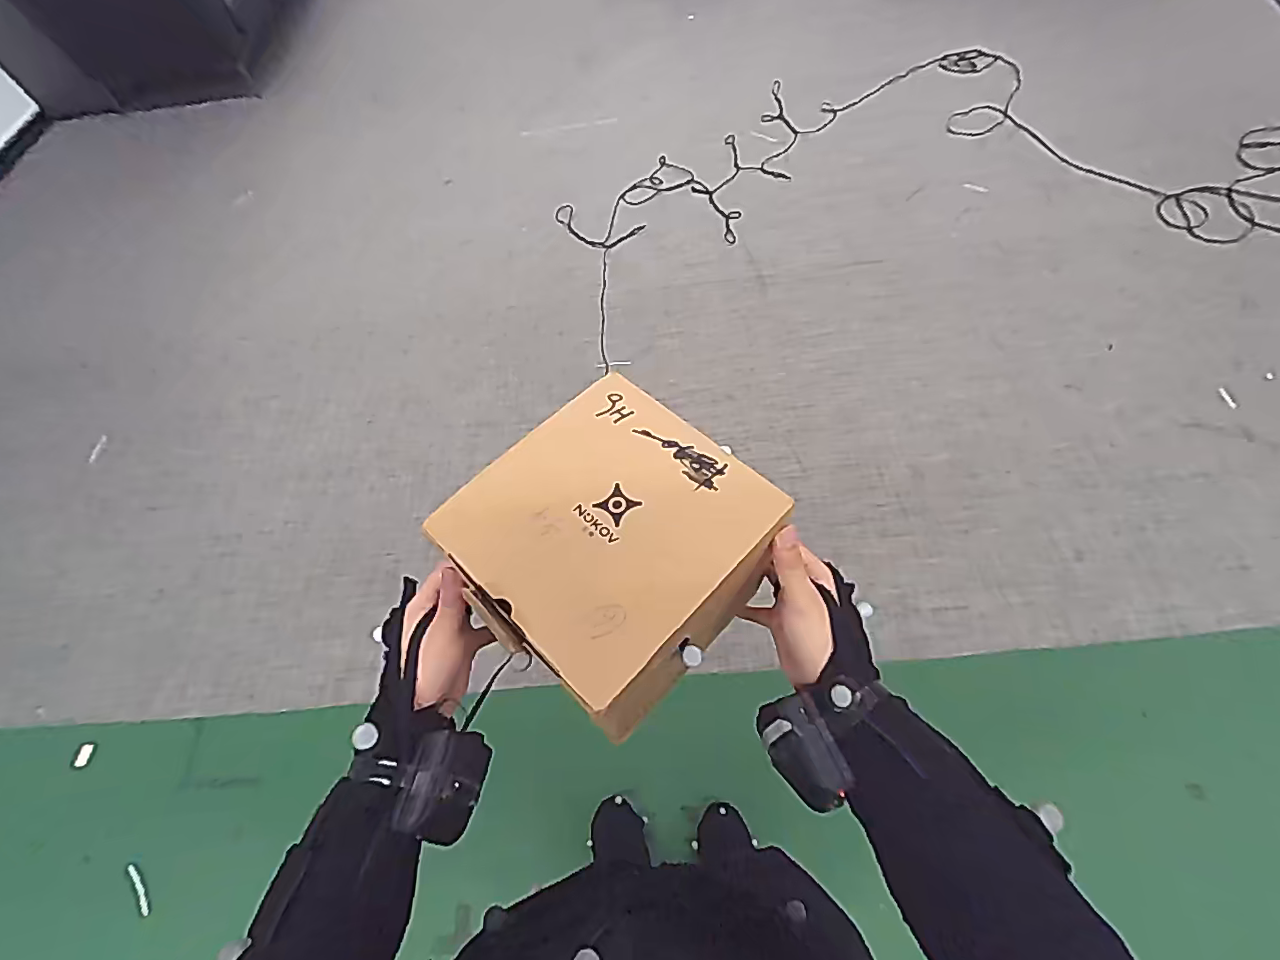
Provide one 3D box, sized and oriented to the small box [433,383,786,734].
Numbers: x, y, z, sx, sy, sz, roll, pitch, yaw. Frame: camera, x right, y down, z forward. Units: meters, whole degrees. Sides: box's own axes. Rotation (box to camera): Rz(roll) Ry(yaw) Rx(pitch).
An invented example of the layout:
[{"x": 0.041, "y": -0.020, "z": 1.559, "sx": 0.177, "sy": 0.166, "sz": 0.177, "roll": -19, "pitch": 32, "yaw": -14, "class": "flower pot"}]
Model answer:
[{"x": -0.015, "y": 0.068, "z": 0.418, "sx": 0.168, "sy": 0.176, "sz": 0.179, "roll": 39, "pitch": 69, "yaw": 23, "class": "small box"}]
